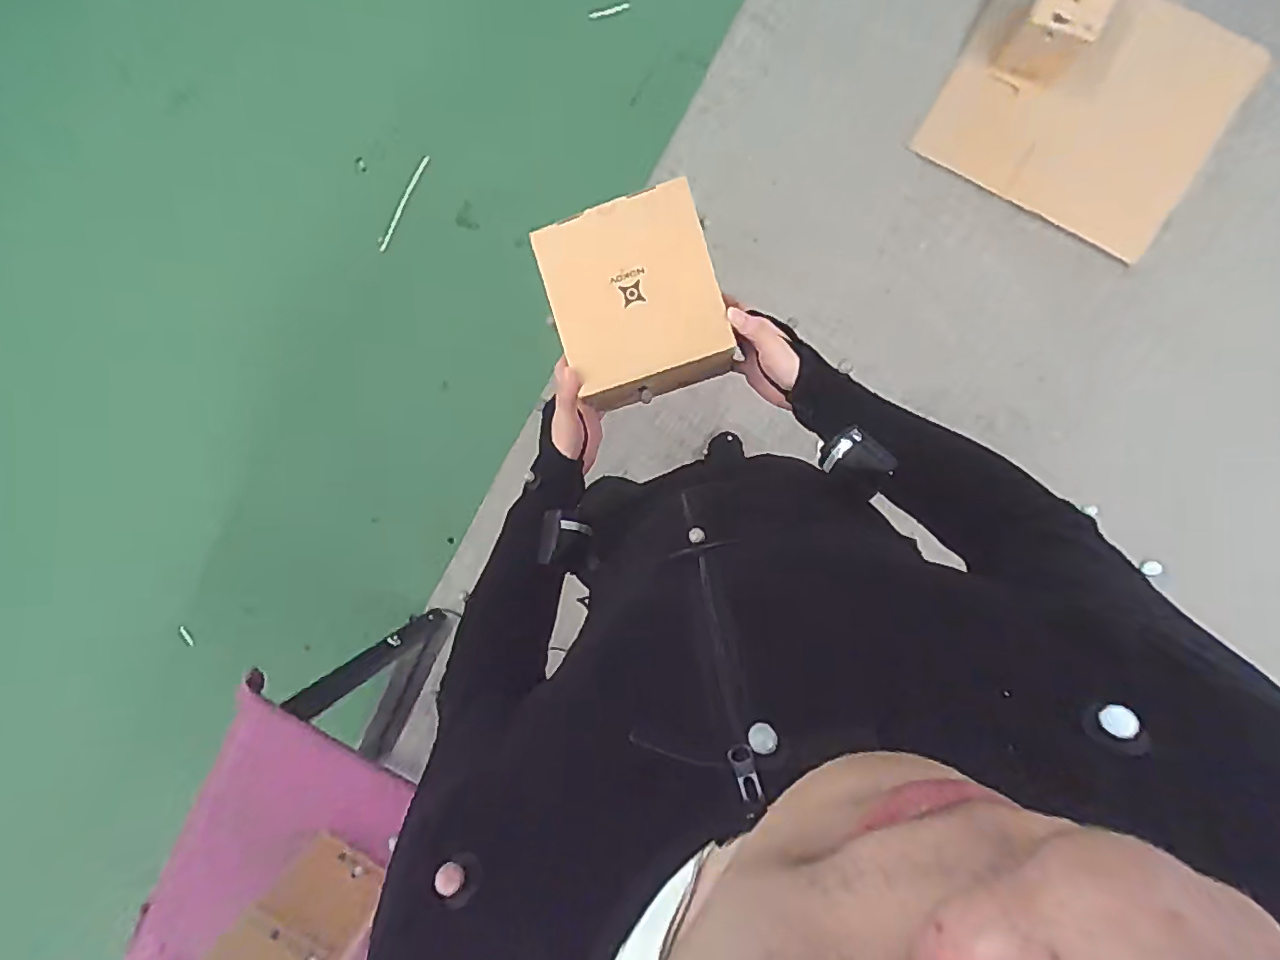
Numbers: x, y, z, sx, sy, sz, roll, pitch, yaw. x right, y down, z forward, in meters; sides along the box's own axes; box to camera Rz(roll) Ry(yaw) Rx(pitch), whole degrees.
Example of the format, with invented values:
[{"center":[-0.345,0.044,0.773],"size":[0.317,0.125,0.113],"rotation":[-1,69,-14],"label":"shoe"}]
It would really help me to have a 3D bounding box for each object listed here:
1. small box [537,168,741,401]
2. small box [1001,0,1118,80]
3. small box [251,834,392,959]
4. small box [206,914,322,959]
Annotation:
[{"center":[0.010,-0.193,0.599],"size":[0.168,0.176,0.179],"rotation":[-17,89,9],"label":"small box"},{"center":[1.048,-1.157,1.345],"size":[0.168,0.176,0.179],"rotation":[22,95,4],"label":"small box"},{"center":[-0.563,0.769,0.926],"size":[0.168,0.176,0.179],"rotation":[30,96,2],"label":"small box"},{"center":[-0.577,0.779,0.763],"size":[0.168,0.176,0.179],"rotation":[29,98,2],"label":"small box"}]
